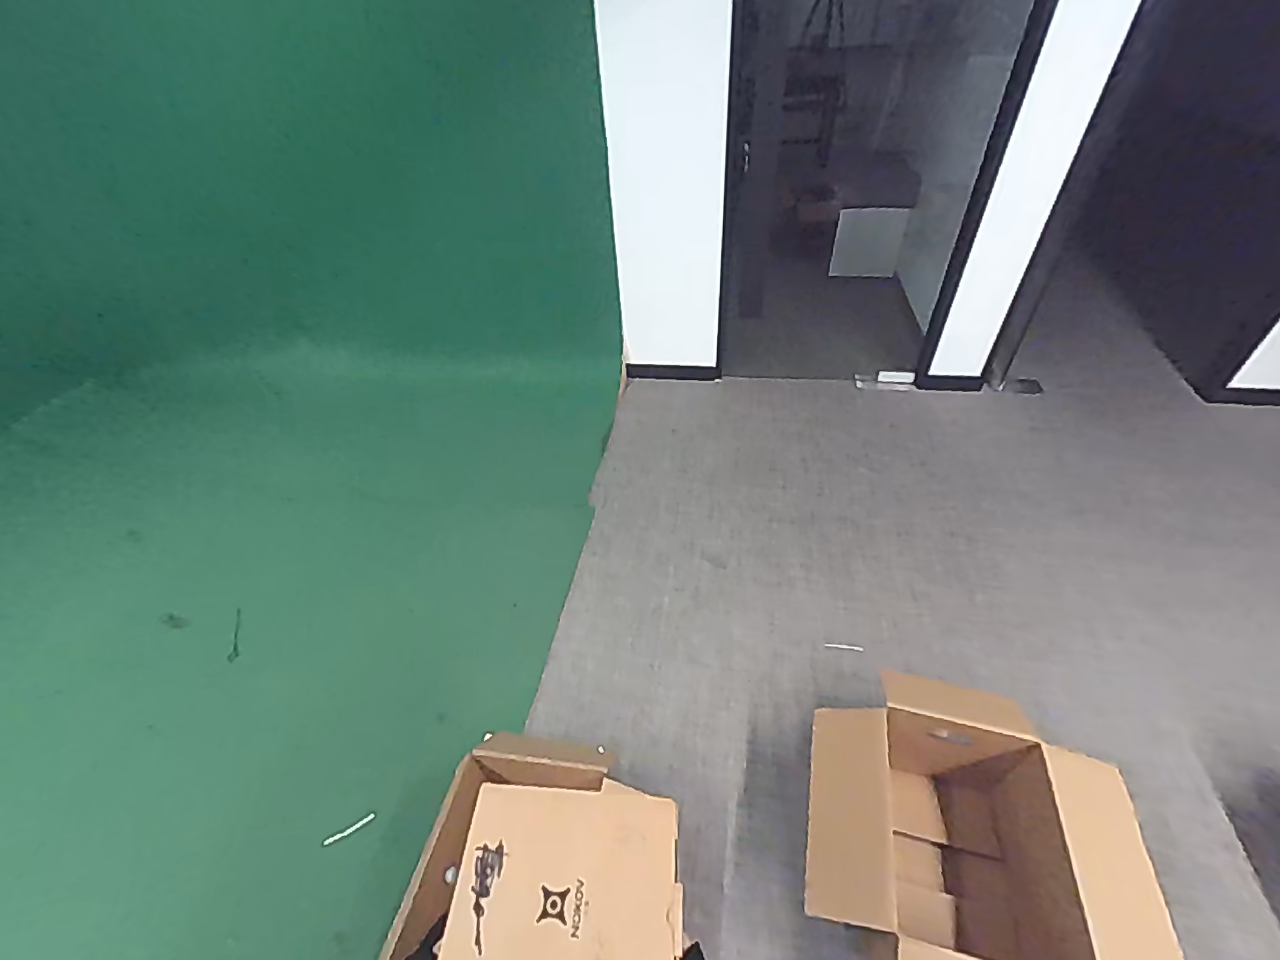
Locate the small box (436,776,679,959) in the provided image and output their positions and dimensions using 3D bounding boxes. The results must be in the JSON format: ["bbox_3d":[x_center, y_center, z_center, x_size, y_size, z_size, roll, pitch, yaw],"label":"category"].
[{"bbox_3d":[-0.066,0.388,0.477,0.179,0.176,0.168,7,42,0],"label":"small box"}]
